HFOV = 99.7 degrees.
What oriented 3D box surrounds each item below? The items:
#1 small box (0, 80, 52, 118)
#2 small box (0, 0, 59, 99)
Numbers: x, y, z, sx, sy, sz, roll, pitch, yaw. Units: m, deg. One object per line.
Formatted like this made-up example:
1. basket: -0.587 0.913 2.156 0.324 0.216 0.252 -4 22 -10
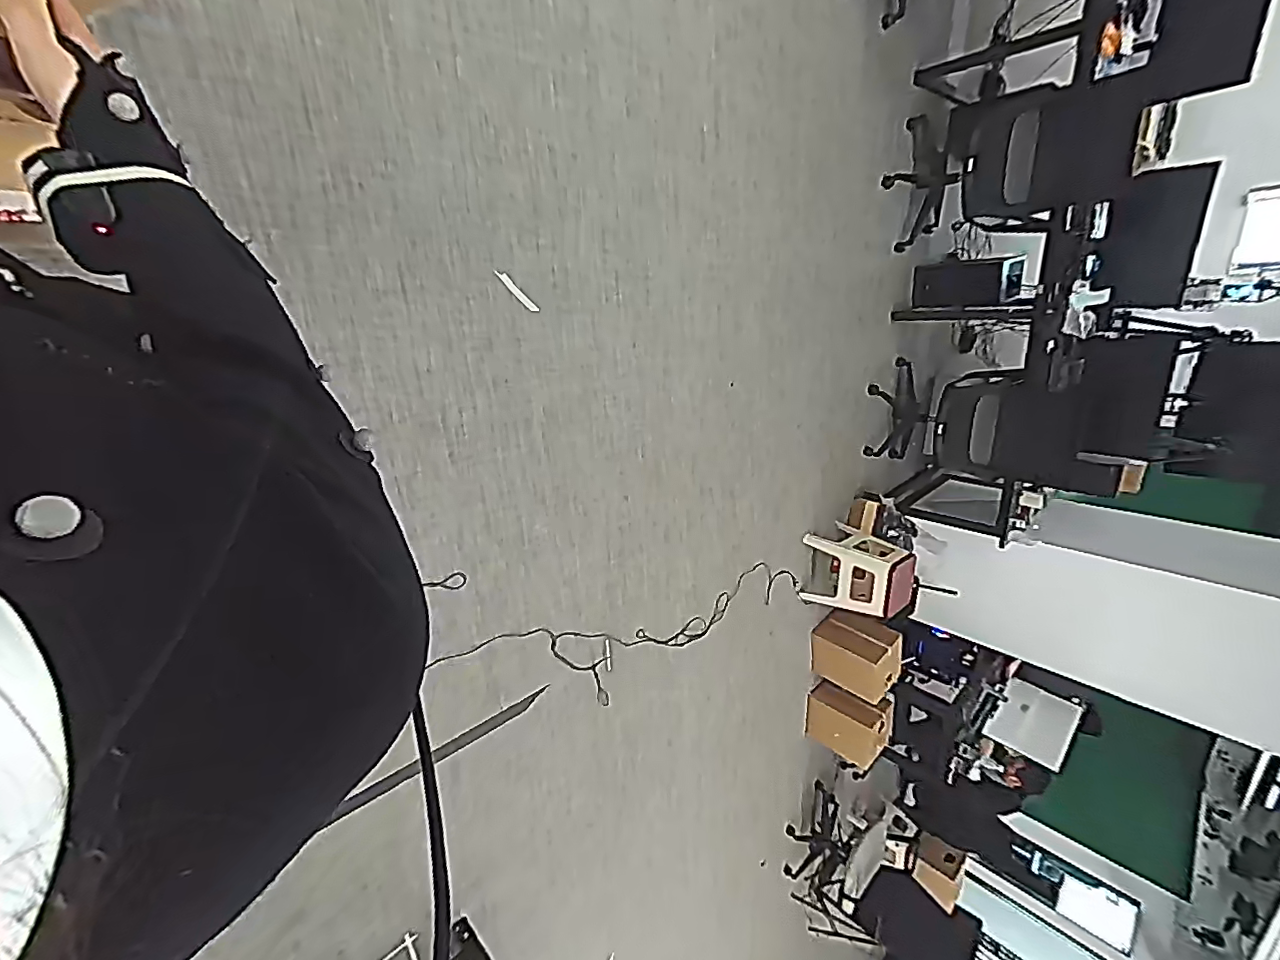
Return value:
1. small box: -0.629 -0.428 0.446 0.179 0.176 0.168 -13 112 -45
2. small box: -0.515 -0.369 0.340 0.179 0.176 0.168 -17 114 -43
